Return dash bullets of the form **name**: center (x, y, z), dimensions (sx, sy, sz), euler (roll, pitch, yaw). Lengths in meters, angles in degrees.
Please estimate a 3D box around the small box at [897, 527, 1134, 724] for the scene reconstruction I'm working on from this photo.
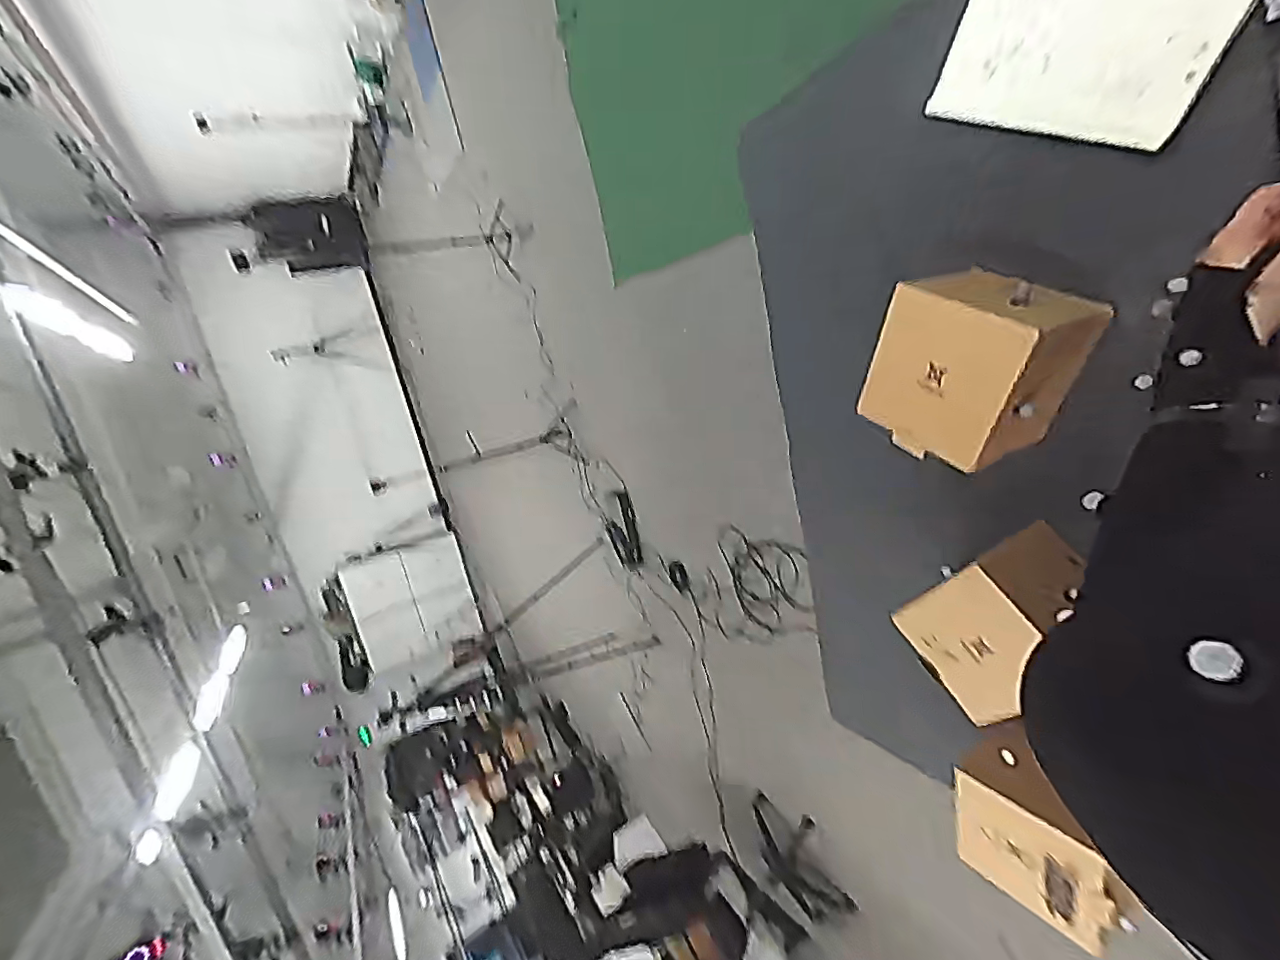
- **small box**: center (0.495, 0.187, 0.716), dimensions (0.168, 0.176, 0.179), euler (57, 149, 25)

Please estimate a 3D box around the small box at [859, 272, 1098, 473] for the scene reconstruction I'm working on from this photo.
- **small box**: center (0.409, -0.142, 0.662), dimensions (0.168, 0.176, 0.179), euler (42, 142, 41)
